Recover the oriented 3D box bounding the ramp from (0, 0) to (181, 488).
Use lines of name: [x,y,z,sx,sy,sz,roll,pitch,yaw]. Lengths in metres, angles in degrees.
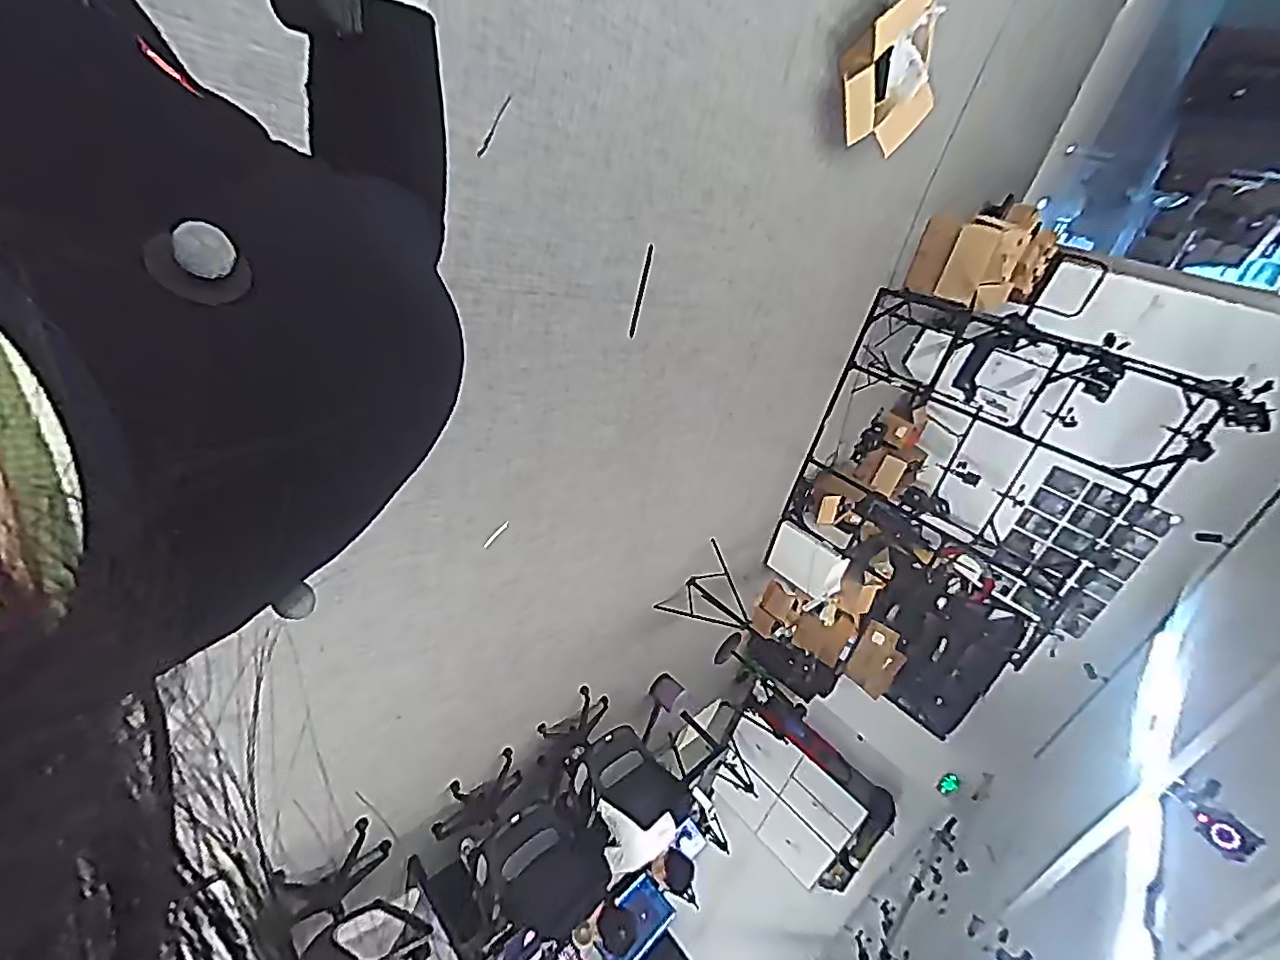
ramp: [-1.231,-0.374,1.030,0.509,0.206,0.991,-17,132,-44]
